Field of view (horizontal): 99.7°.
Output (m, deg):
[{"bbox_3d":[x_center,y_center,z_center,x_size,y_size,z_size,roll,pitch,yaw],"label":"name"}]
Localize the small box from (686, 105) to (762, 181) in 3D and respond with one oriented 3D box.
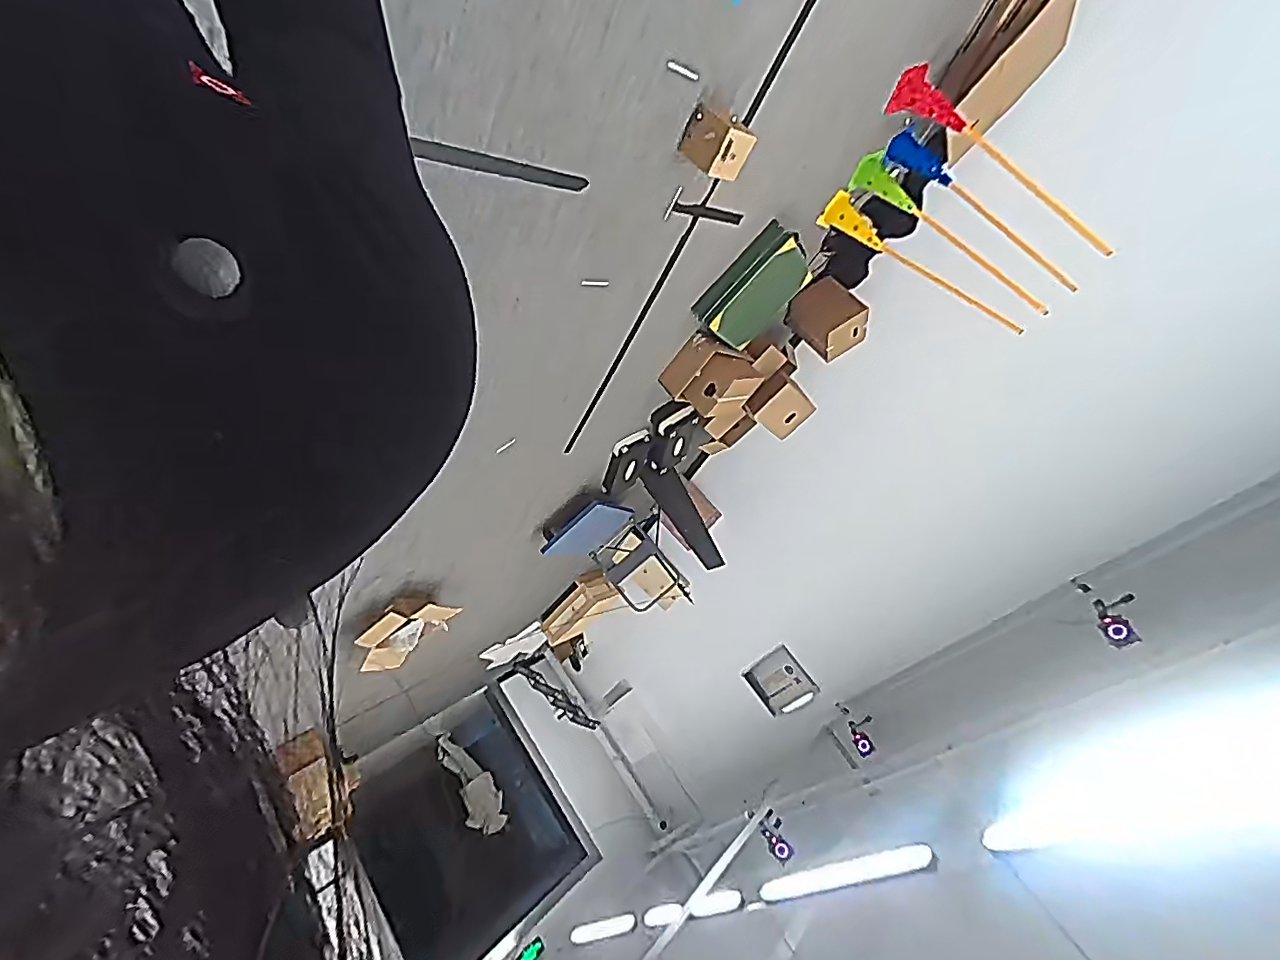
[{"bbox_3d":[0.298,-1.217,1.955,0.179,0.176,0.168,-22,155,-43],"label":"small box"}]
